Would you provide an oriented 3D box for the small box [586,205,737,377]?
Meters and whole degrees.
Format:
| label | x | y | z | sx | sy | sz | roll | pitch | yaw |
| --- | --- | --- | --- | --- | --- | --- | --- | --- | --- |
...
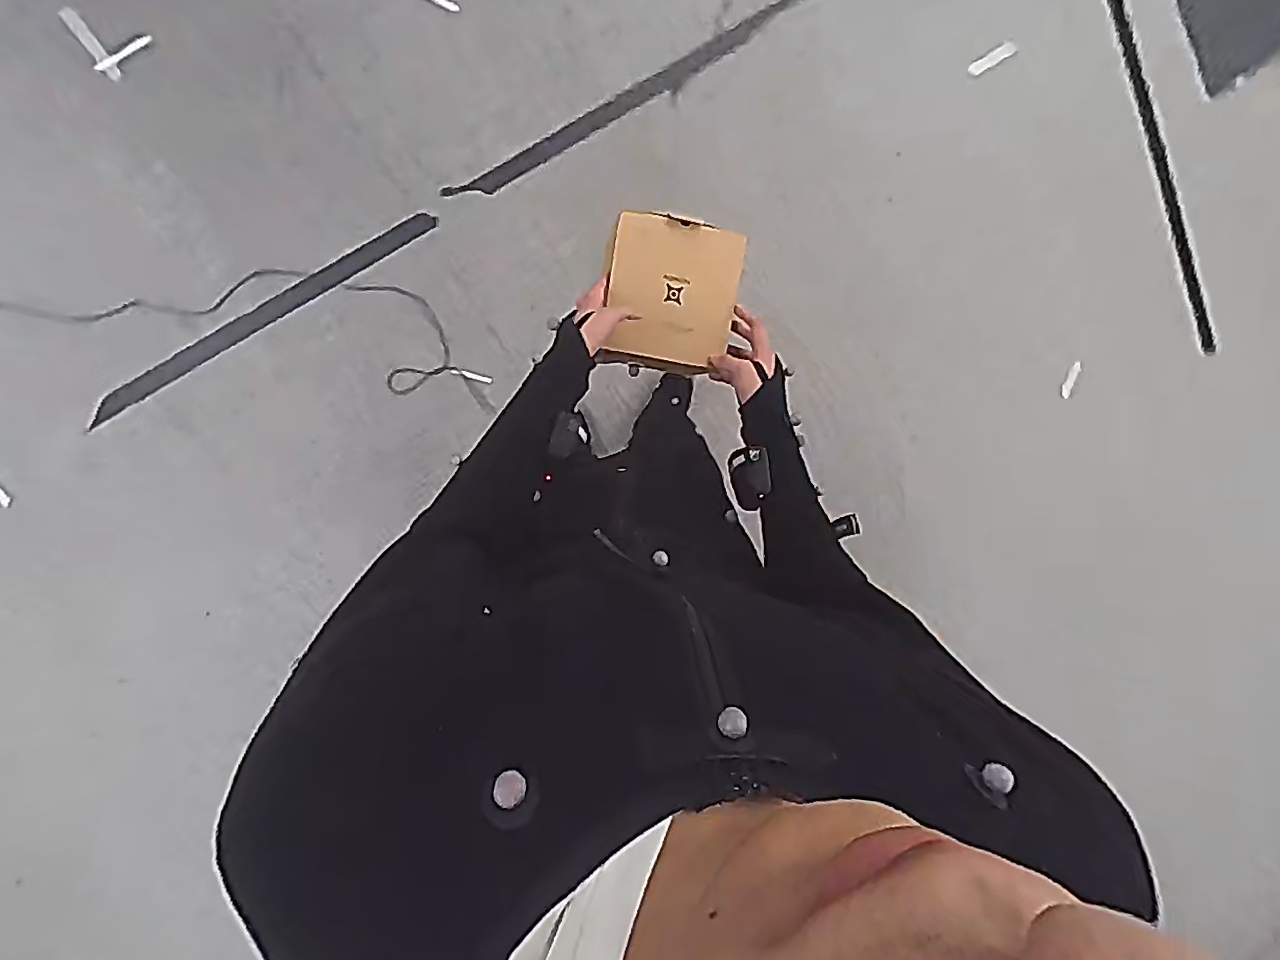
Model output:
| label | x | y | z | sx | sy | sz | roll | pitch | yaw |
| --- | --- | --- | --- | --- | --- | --- | --- | --- | --- |
| small box | 0.018 | -0.246 | 0.748 | 0.168 | 0.176 | 0.179 | 6 | 96 | -10 |
